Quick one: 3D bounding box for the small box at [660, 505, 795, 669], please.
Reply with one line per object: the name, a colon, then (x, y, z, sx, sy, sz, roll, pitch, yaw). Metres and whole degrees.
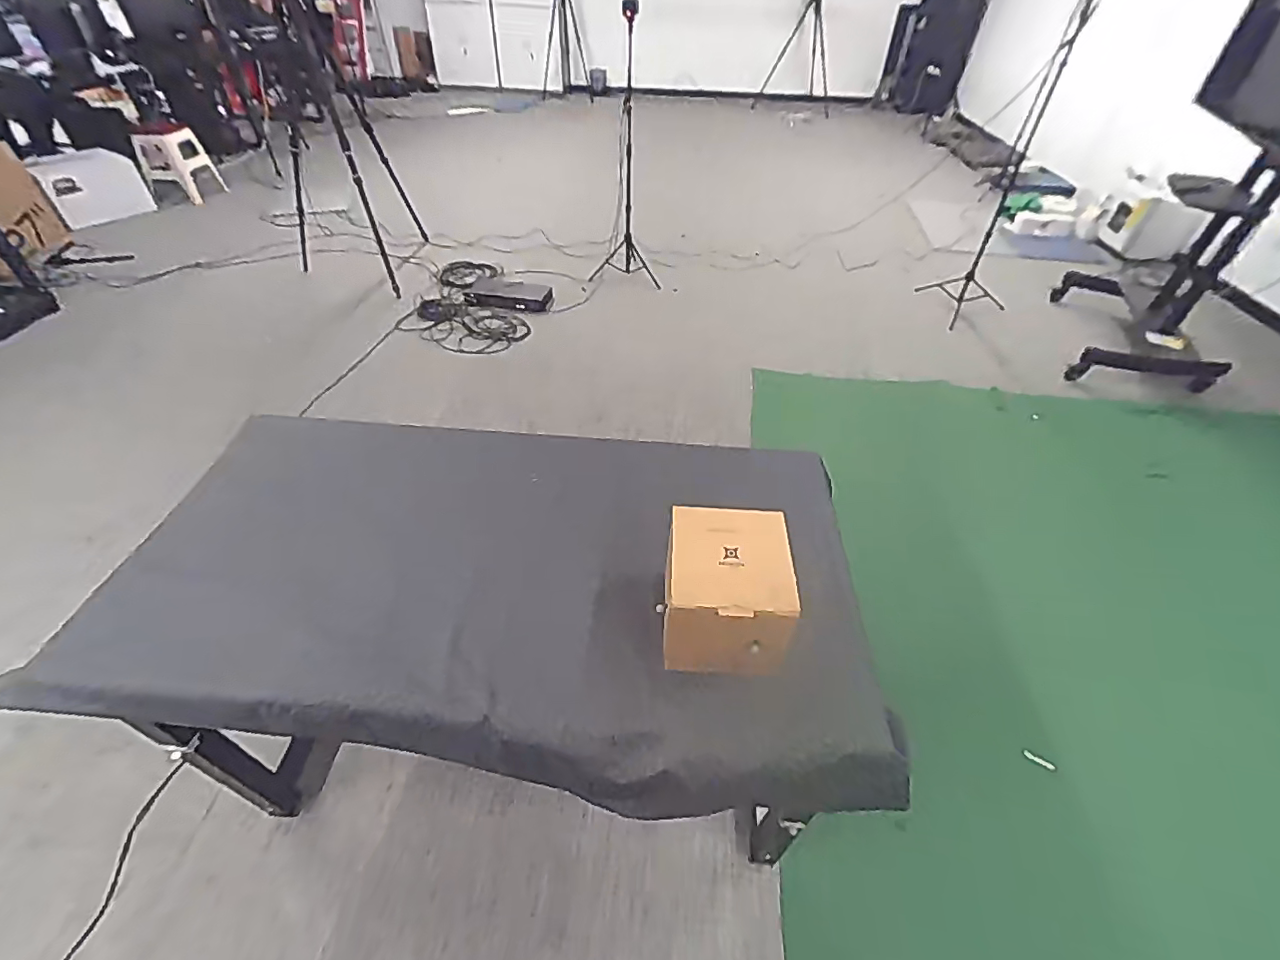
small box: (0.118, 0.159, 0.795, 0.168, 0.176, 0.179, 3, 43, 0)
